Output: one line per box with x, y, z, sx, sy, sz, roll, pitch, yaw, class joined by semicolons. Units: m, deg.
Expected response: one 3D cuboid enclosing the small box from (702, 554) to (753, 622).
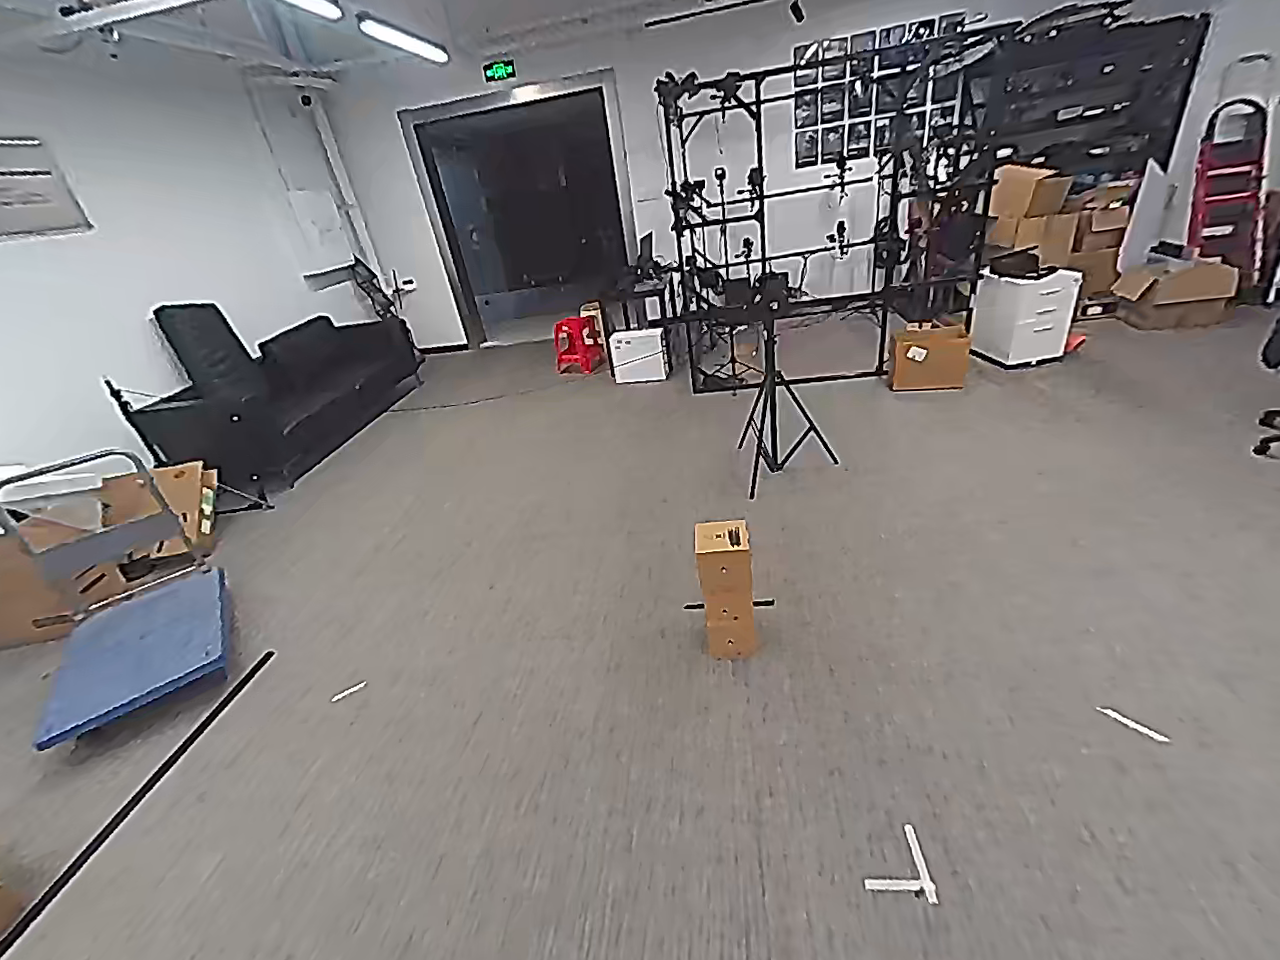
0.312;0.386;1.928;0.168;0.176;0.179;-5;30;10;small box

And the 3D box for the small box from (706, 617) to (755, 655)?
0.332;0.531;1.998;0.168;0.176;0.179;-5;29;8;small box
